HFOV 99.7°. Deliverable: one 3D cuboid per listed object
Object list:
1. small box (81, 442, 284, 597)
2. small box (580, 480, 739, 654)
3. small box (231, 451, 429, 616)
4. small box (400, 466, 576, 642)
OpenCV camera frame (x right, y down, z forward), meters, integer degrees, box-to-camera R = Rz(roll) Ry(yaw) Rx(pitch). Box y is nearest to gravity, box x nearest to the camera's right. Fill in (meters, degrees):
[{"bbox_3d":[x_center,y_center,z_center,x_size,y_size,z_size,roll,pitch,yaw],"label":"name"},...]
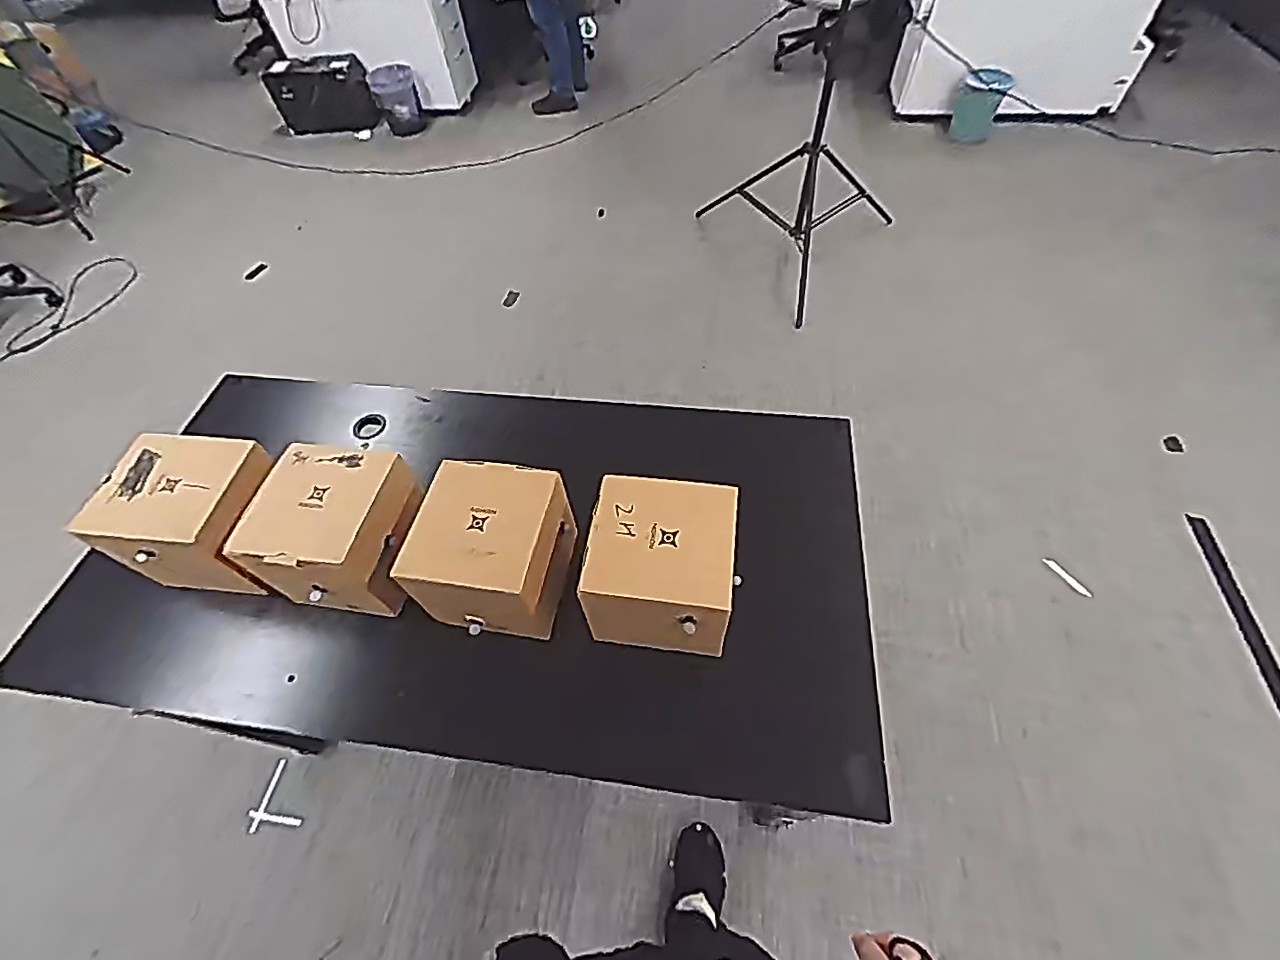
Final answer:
[{"bbox_3d":[-0.629,0.062,0.801,0.179,0.176,0.168,4,56,5],"label":"small box"},{"bbox_3d":[0.032,0.121,0.720,0.179,0.176,0.168,5,55,7],"label":"small box"},{"bbox_3d":[-0.416,0.081,0.777,0.168,0.176,0.179,5,56,8],"label":"small box"},{"bbox_3d":[-0.193,0.104,0.749,0.168,0.176,0.179,5,56,8],"label":"small box"}]
